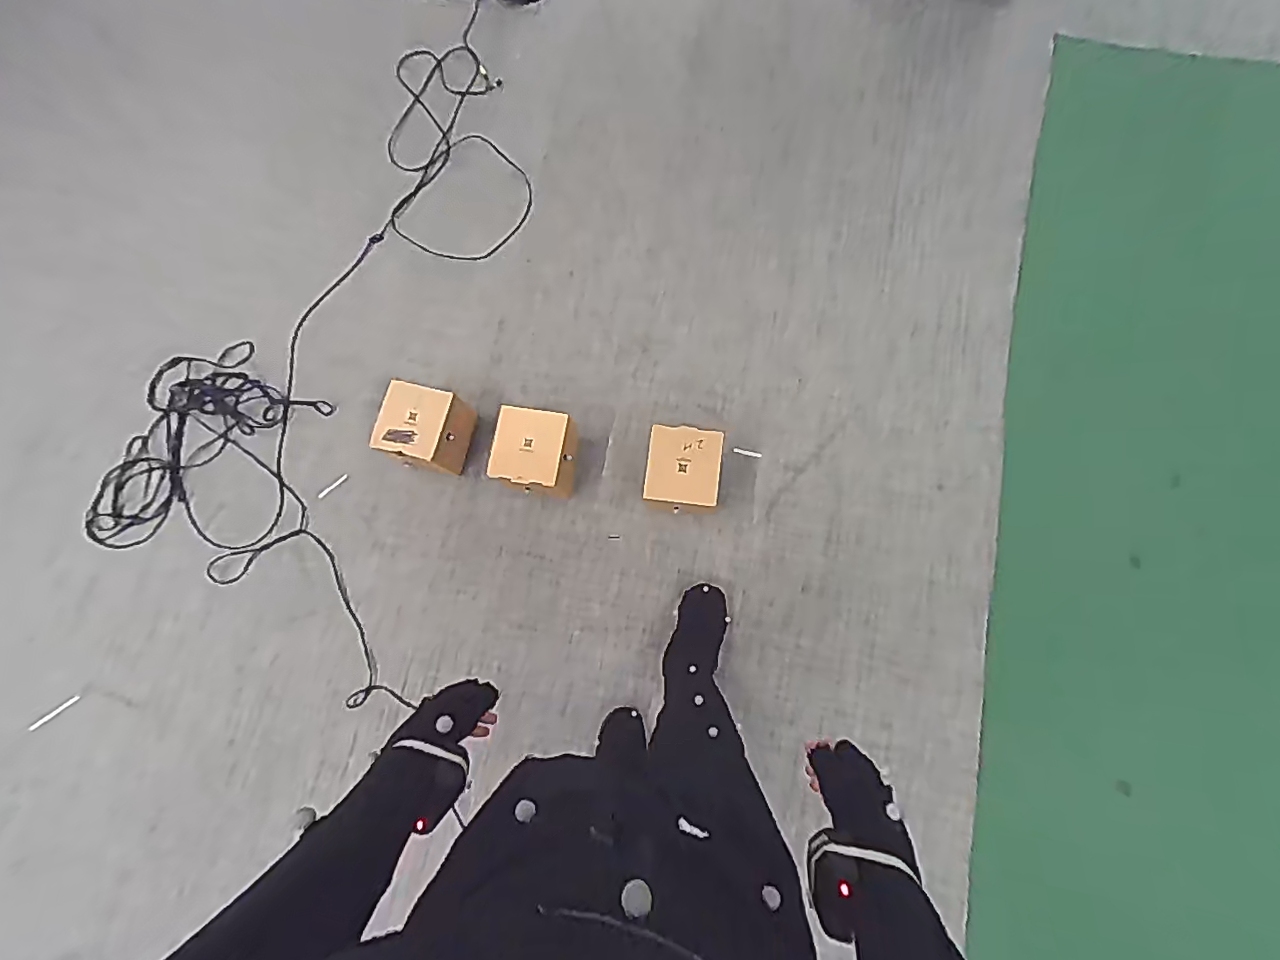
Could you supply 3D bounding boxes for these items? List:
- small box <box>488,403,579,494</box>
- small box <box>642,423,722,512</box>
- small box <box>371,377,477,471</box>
[{"bbox_3d":[-0.253,-0.072,1.337,0.168,0.176,0.179,8,80,6],"label":"small box"},{"bbox_3d":[0.101,-0.024,1.300,0.168,0.176,0.179,7,80,5],"label":"small box"},{"bbox_3d":[-0.535,-0.135,1.369,0.168,0.176,0.179,14,79,7],"label":"small box"}]
